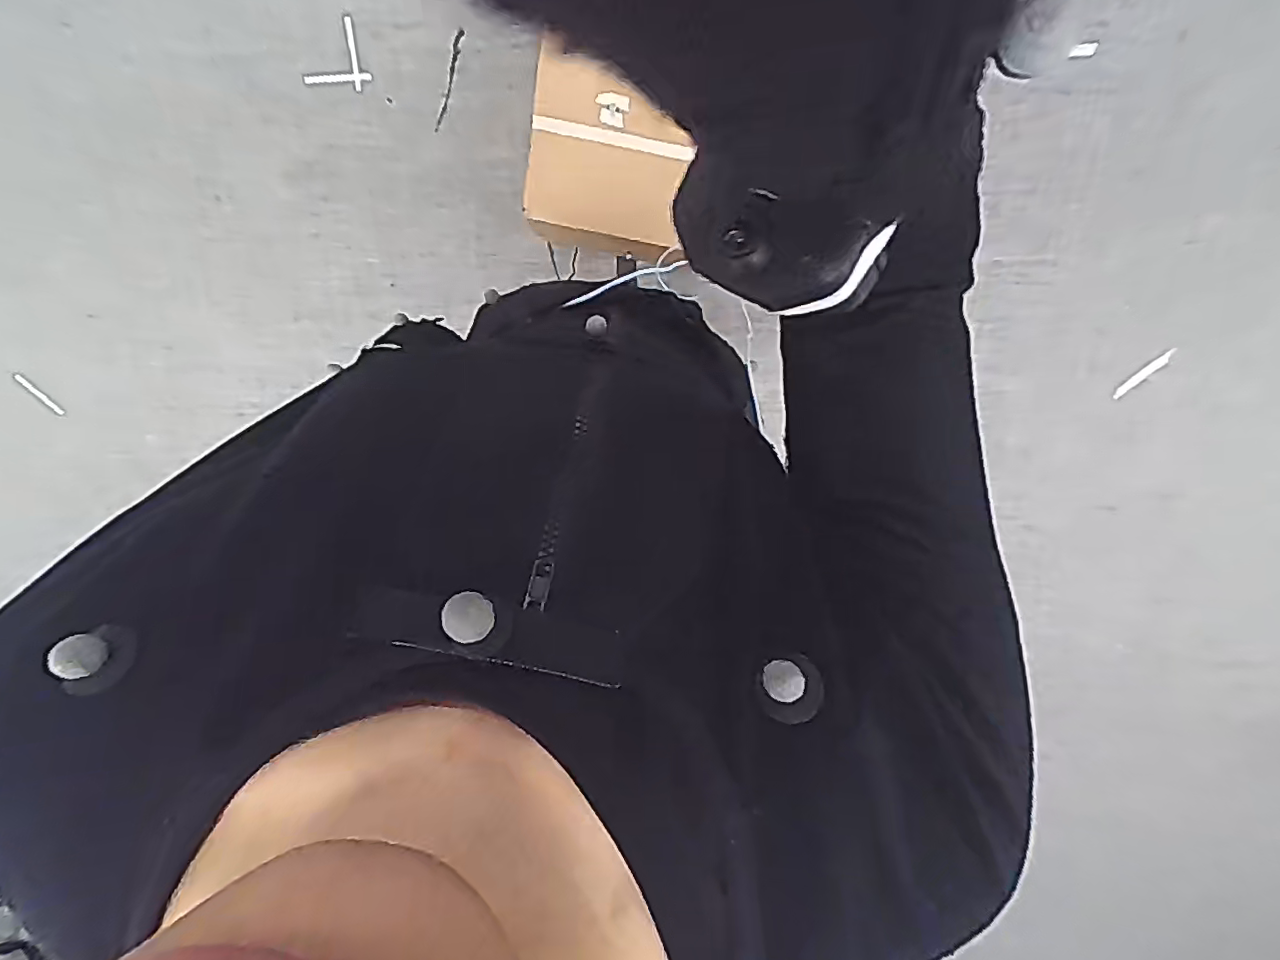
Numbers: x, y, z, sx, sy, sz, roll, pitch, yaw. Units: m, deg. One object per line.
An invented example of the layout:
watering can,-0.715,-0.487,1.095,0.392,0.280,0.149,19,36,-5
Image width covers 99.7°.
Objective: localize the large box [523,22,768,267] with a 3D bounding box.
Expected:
large box,0.006,-0.647,1.115,0.408,0.320,0.320,11,105,-3
